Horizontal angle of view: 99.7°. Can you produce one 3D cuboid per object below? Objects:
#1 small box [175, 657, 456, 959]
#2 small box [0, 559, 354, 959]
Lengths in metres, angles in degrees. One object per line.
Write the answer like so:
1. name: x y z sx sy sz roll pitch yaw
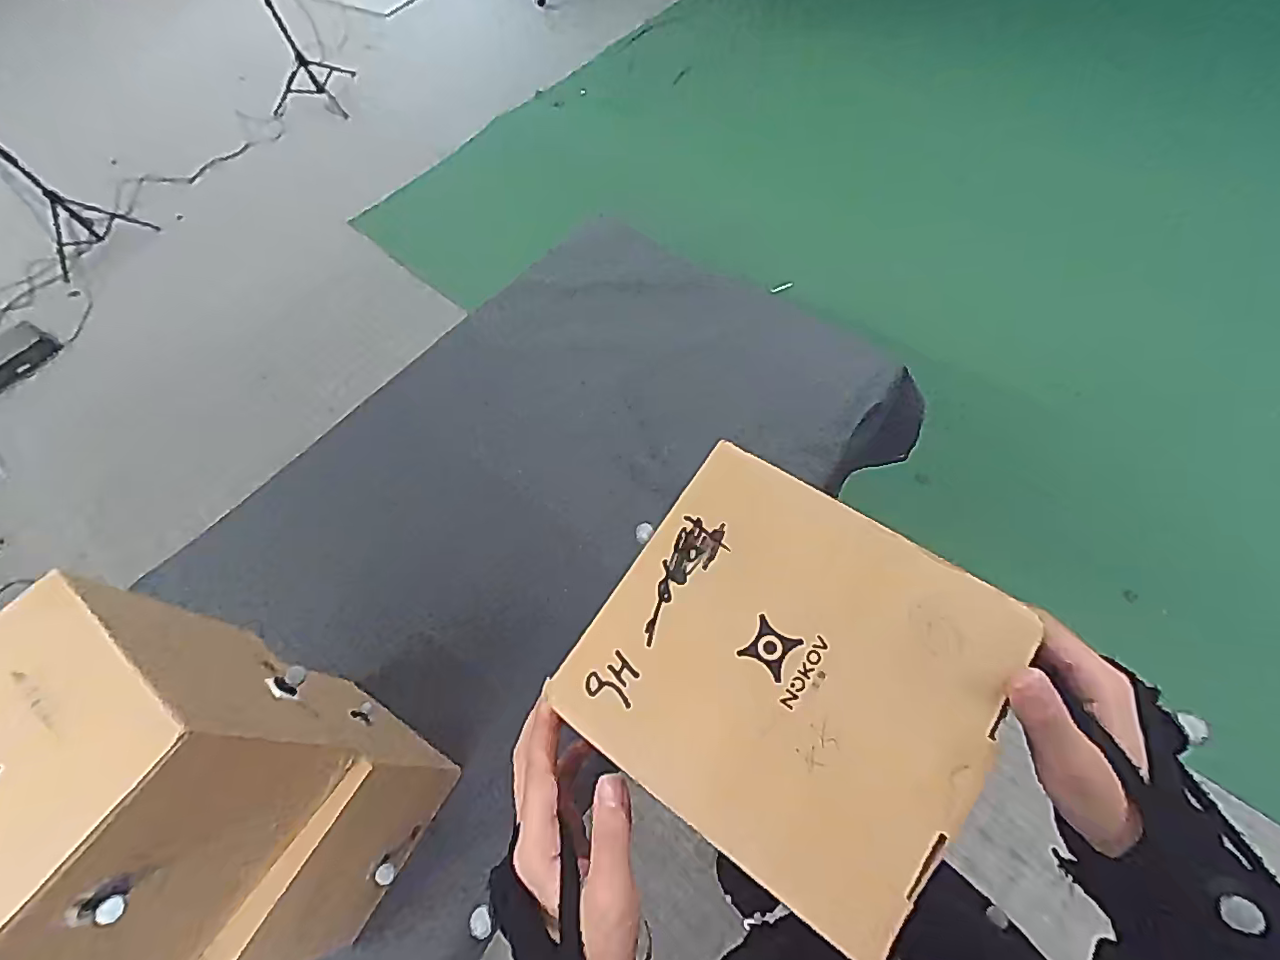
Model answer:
1. small box: -0.305 0.277 0.482 0.179 0.176 0.168 25 68 20
2. small box: -0.335 0.188 0.349 0.168 0.176 0.179 29 68 20
